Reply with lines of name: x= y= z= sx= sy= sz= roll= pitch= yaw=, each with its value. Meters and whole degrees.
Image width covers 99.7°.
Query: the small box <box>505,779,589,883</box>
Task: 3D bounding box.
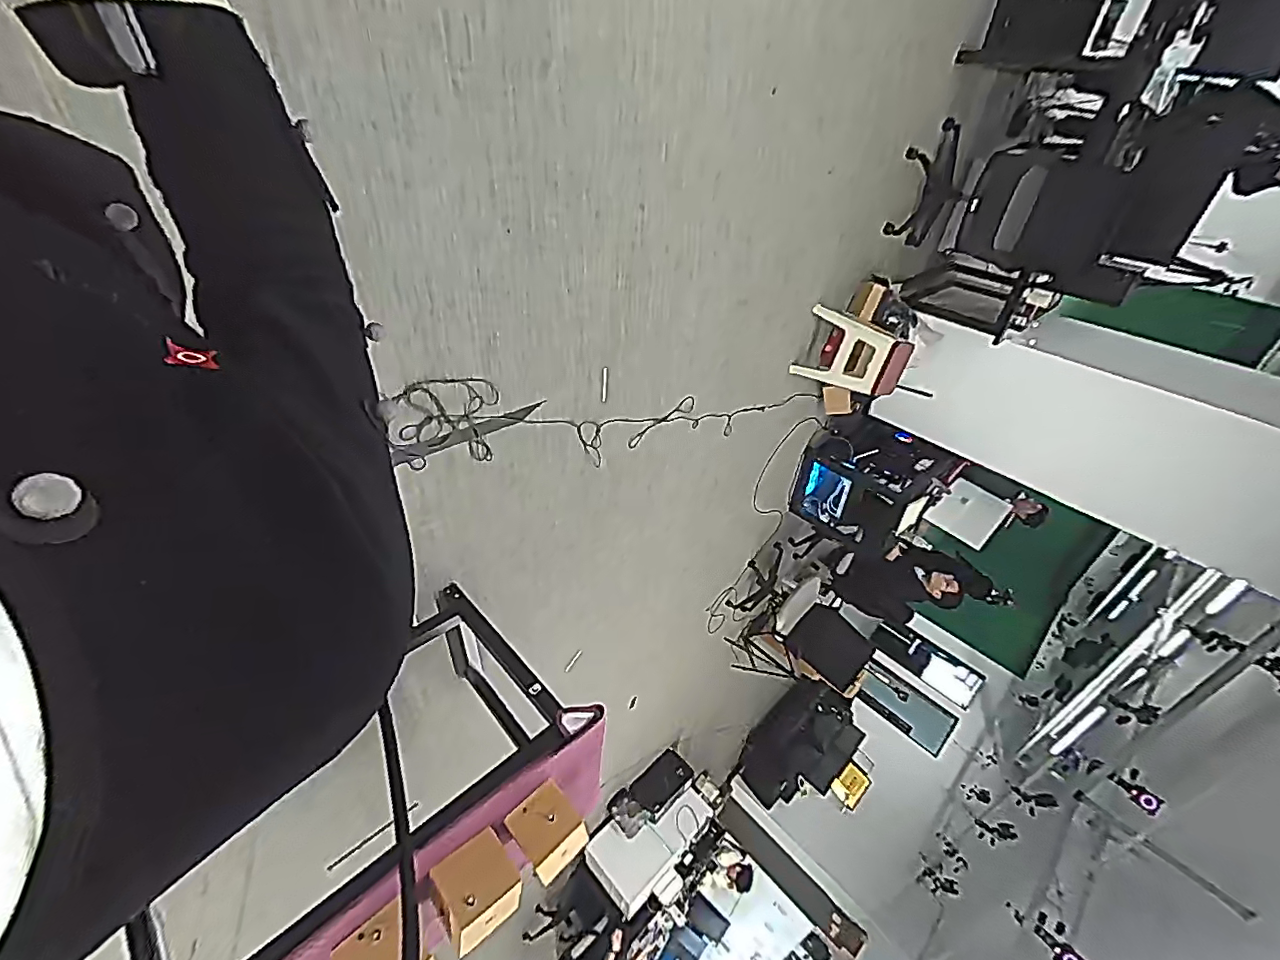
small box: x=-0.270 y=1.010 z=1.568 sx=0.168 sy=0.176 sz=0.179 roll=-34 pitch=140 yaw=-30
